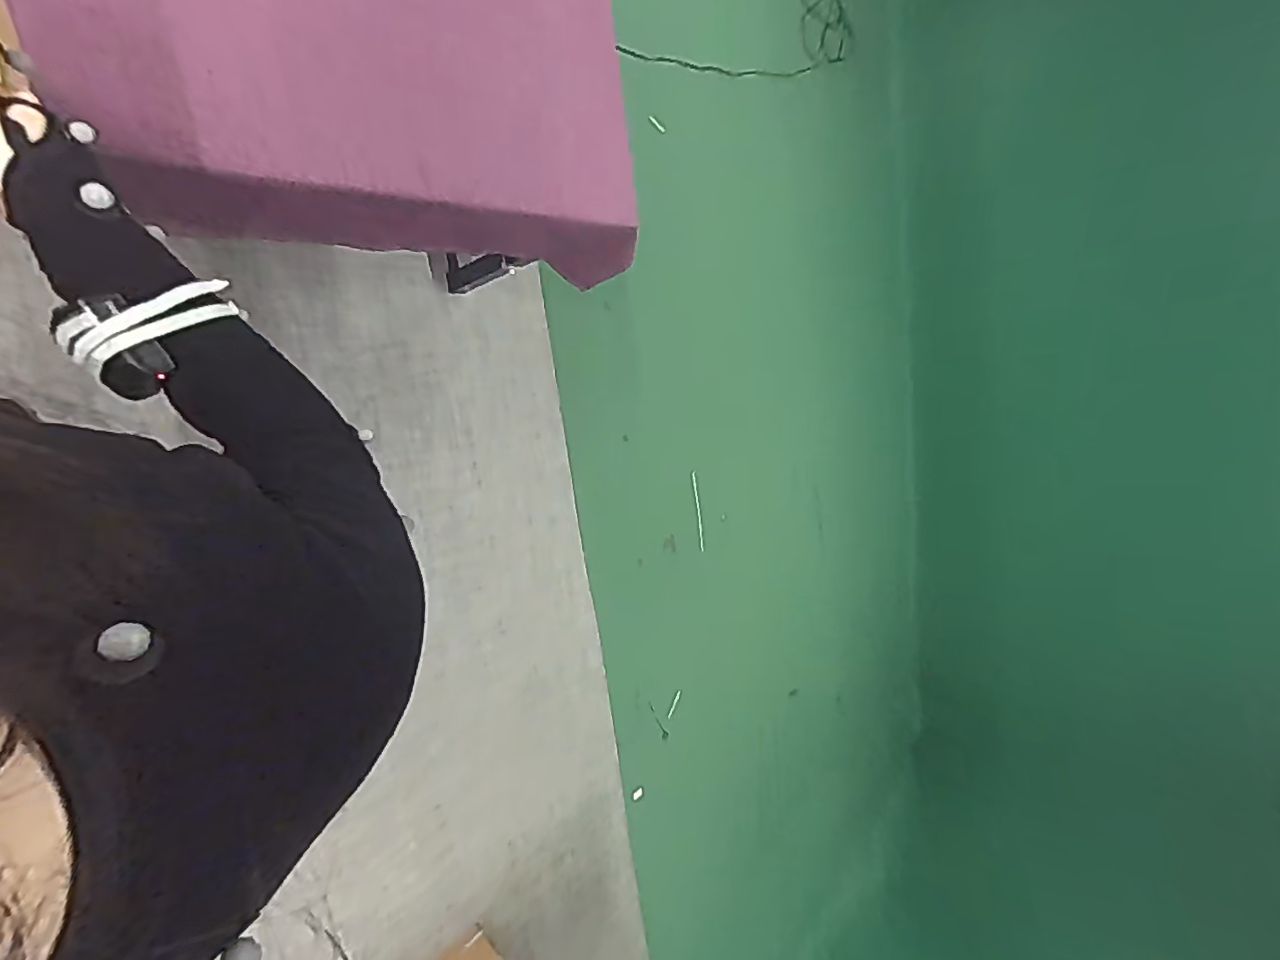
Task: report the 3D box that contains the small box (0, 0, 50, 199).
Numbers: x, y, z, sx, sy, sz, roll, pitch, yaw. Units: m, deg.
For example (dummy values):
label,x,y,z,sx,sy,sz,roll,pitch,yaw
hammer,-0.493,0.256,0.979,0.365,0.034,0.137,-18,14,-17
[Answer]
label,x,y,z,sx,sy,sz,roll,pitch,yaw
small box,-0.554,-0.323,0.369,0.168,0.176,0.179,-14,92,-38
